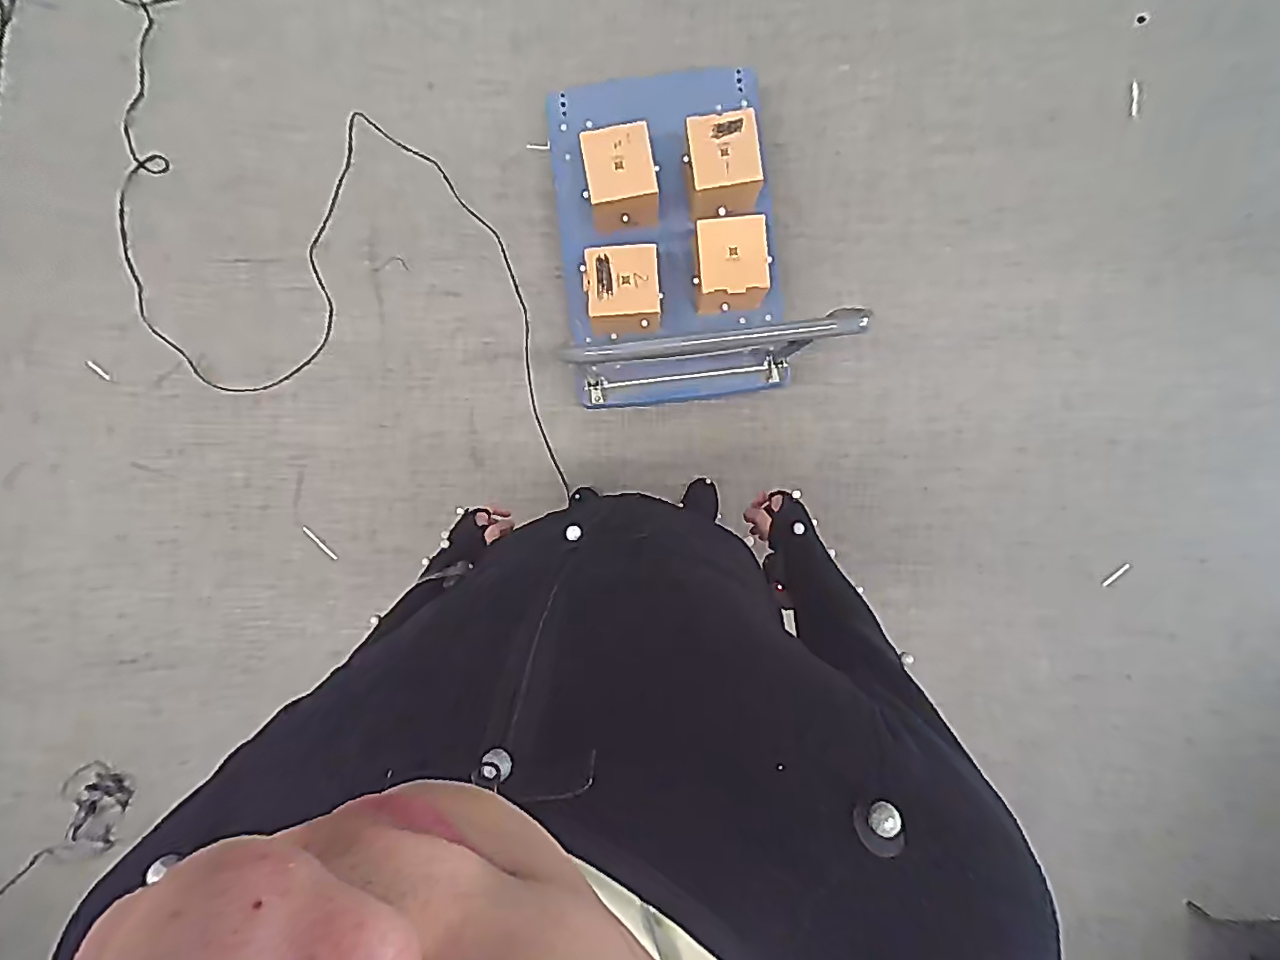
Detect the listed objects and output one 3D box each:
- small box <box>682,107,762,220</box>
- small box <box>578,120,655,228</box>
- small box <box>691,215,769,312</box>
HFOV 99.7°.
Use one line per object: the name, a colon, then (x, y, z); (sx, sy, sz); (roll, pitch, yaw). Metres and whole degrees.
small box: (0.201, -0.790, 1.363); (0.168, 0.176, 0.179); (-8, 92, 2)
small box: (-0.053, -0.761, 1.369); (0.168, 0.176, 0.179); (-10, 91, 1)
small box: (0.222, -0.542, 1.370); (0.168, 0.176, 0.179); (-5, 90, 1)
